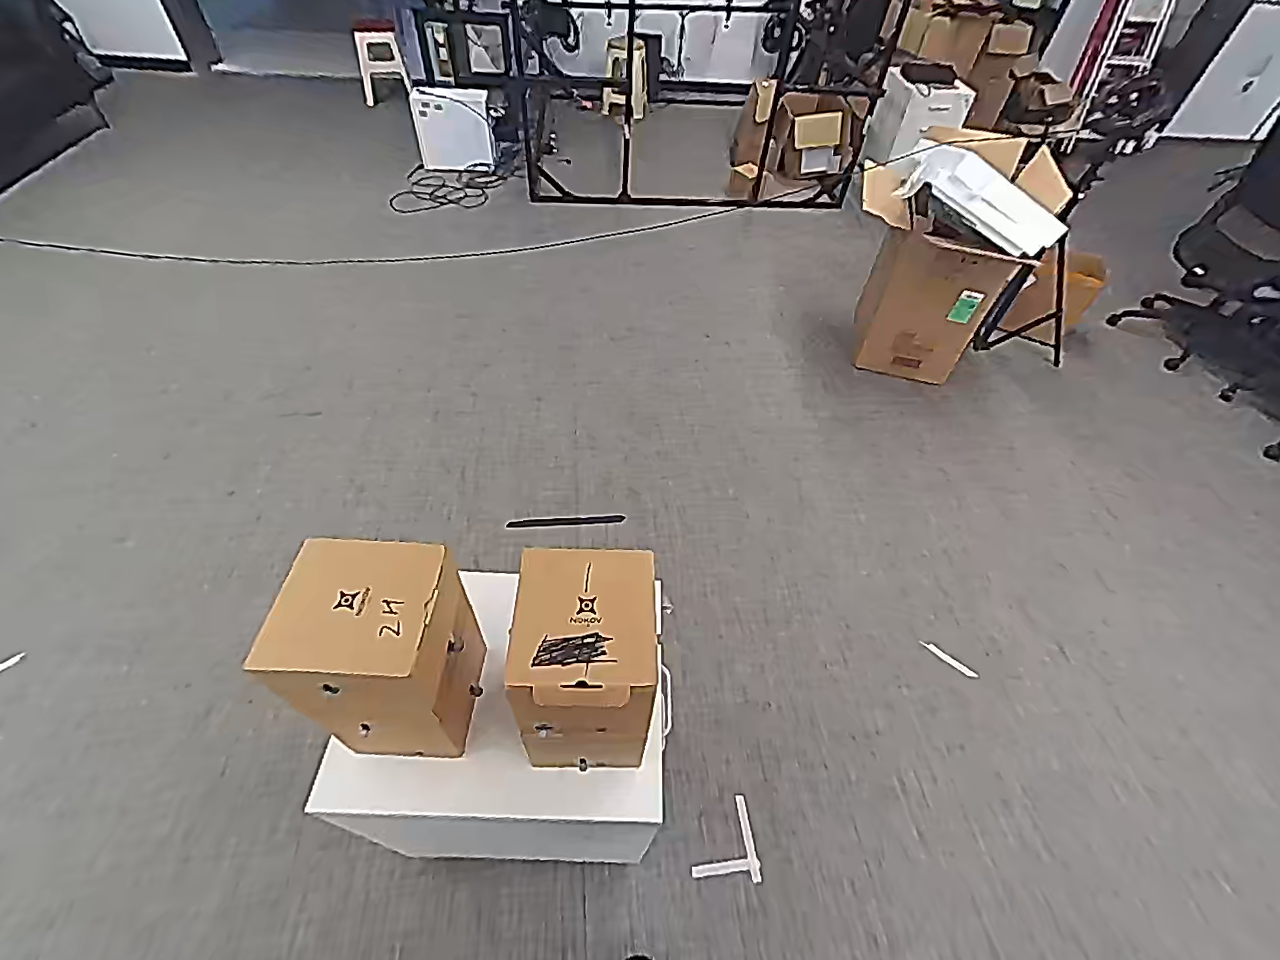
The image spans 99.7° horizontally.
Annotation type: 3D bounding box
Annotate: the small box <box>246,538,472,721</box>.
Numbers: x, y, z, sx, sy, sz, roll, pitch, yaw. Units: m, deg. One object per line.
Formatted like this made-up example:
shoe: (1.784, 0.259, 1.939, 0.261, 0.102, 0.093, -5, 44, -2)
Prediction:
small box: (-0.327, 0.190, 0.675, 0.179, 0.176, 0.168, 4, 50, -2)

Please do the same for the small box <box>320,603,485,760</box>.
small box: (-0.337, 0.294, 0.803, 0.168, 0.176, 0.179, 4, 49, -1)

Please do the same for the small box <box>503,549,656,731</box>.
small box: (-0.066, 0.206, 0.684, 0.168, 0.176, 0.179, 2, 49, -3)
